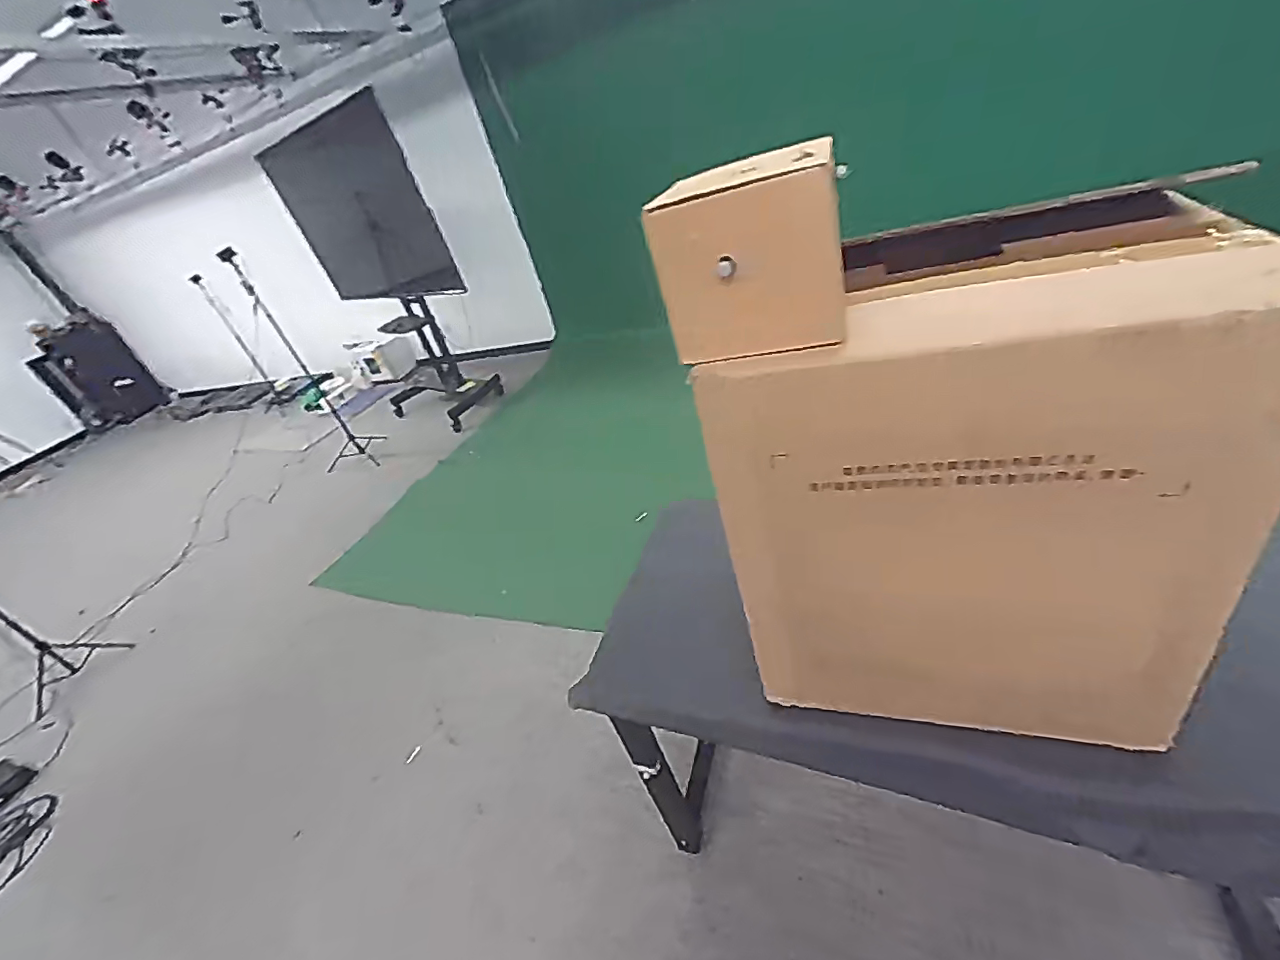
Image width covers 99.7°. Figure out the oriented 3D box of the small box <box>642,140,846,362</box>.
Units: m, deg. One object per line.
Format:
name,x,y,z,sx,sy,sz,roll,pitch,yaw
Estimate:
small box,0.126,-0.245,0.597,0.179,0.176,0.168,-4,37,23
